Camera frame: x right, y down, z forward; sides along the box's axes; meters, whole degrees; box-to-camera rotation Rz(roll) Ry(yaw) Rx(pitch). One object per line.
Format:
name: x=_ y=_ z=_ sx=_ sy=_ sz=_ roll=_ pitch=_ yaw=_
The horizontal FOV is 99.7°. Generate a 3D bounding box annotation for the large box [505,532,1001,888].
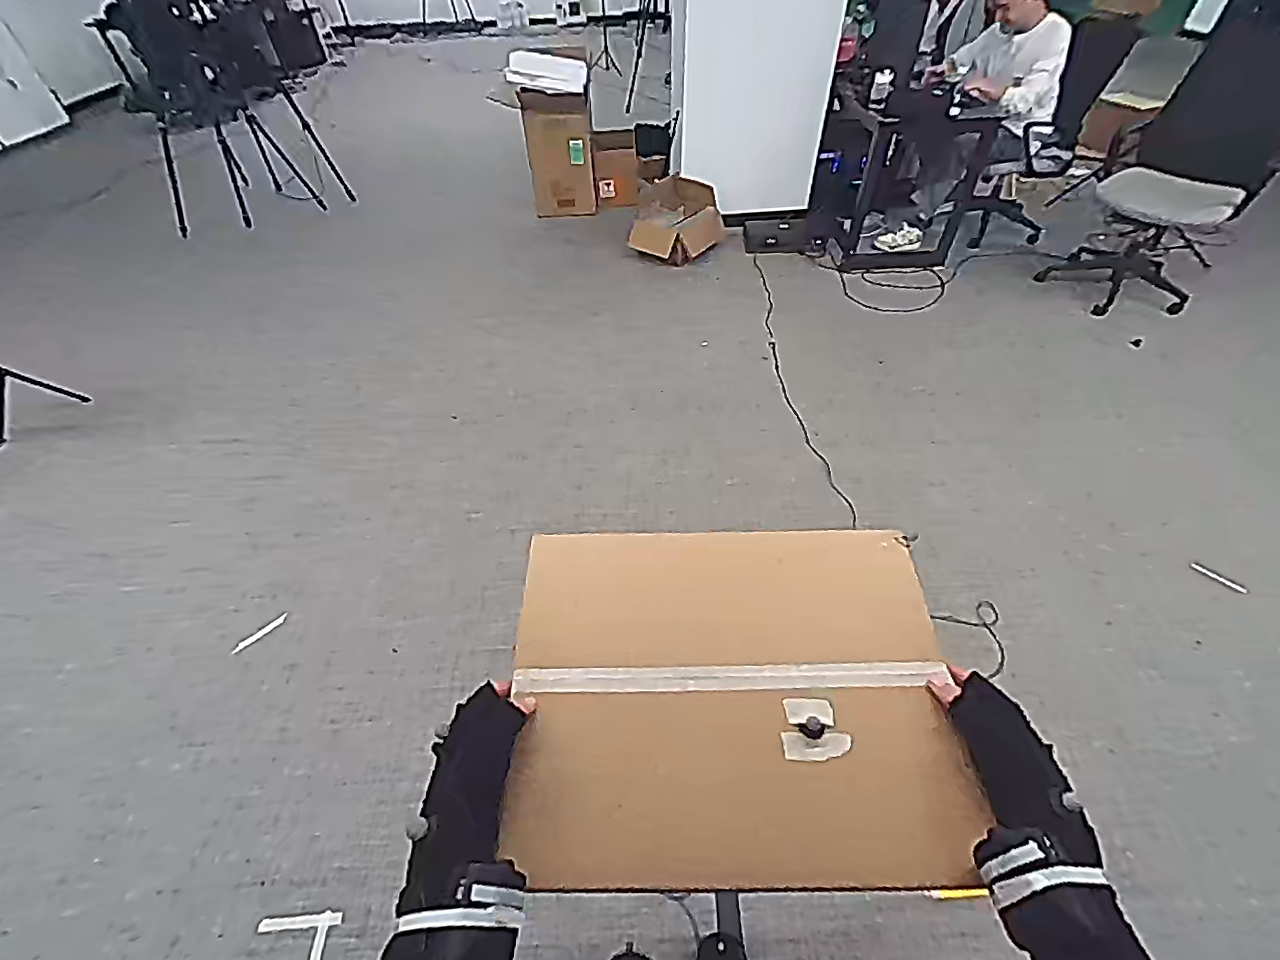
large box: x=0.088 y=0.275 z=0.632 sx=0.408 sy=0.320 sz=0.320 roll=-1 pitch=55 yaw=1
